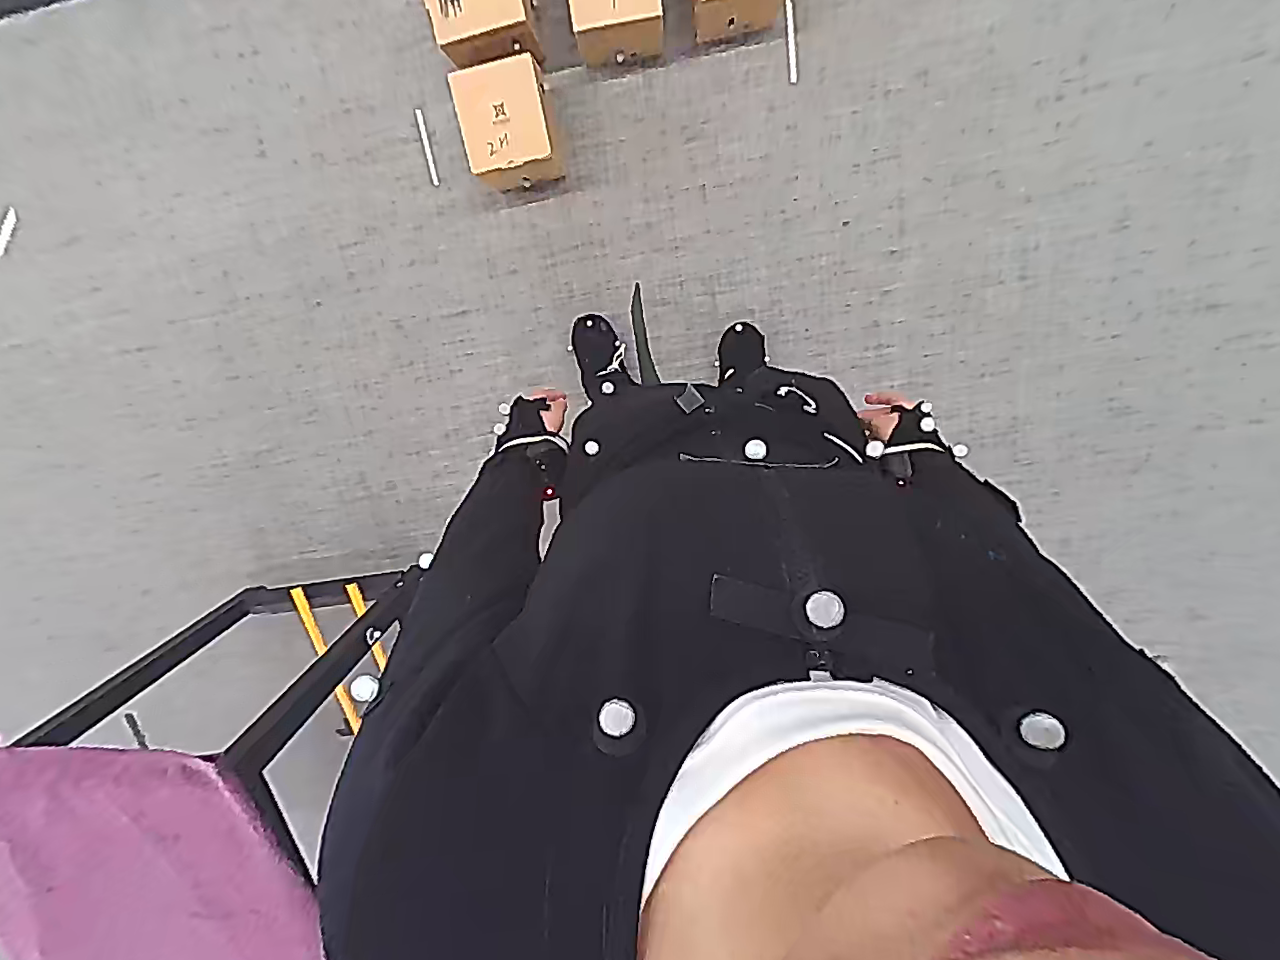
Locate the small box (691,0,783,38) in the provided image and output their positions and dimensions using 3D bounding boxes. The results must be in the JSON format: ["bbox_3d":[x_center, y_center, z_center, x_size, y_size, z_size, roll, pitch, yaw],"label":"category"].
[{"bbox_3d":[0.175,-0.965,0.992,0.168,0.176,0.179,-8,108,5],"label":"small box"}]

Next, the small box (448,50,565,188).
[{"bbox_3d":[-0.259,-0.716,1.093,0.168,0.176,0.179,-9,108,7],"label":"small box"}]

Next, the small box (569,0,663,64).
[{"bbox_3d":[-0.048,-0.926,1.014,0.168,0.176,0.179,-6,109,5],"label":"small box"}]
